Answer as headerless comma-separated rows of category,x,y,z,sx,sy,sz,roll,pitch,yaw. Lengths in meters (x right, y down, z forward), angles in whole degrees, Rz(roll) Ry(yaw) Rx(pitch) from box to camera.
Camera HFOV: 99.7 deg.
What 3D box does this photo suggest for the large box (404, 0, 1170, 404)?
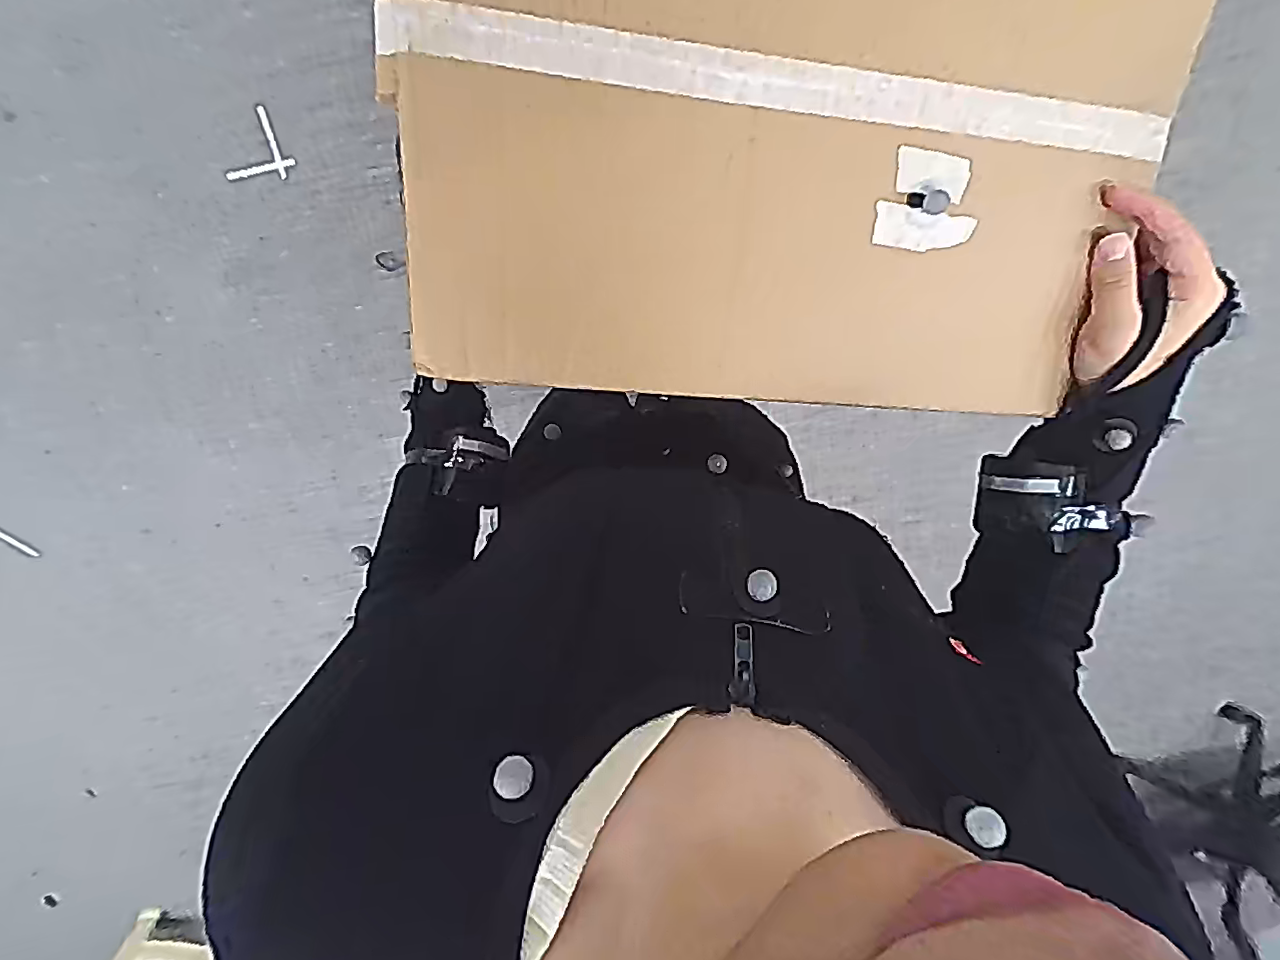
large box,0.062,-0.243,0.423,0.408,0.320,0.320,1,110,-10
